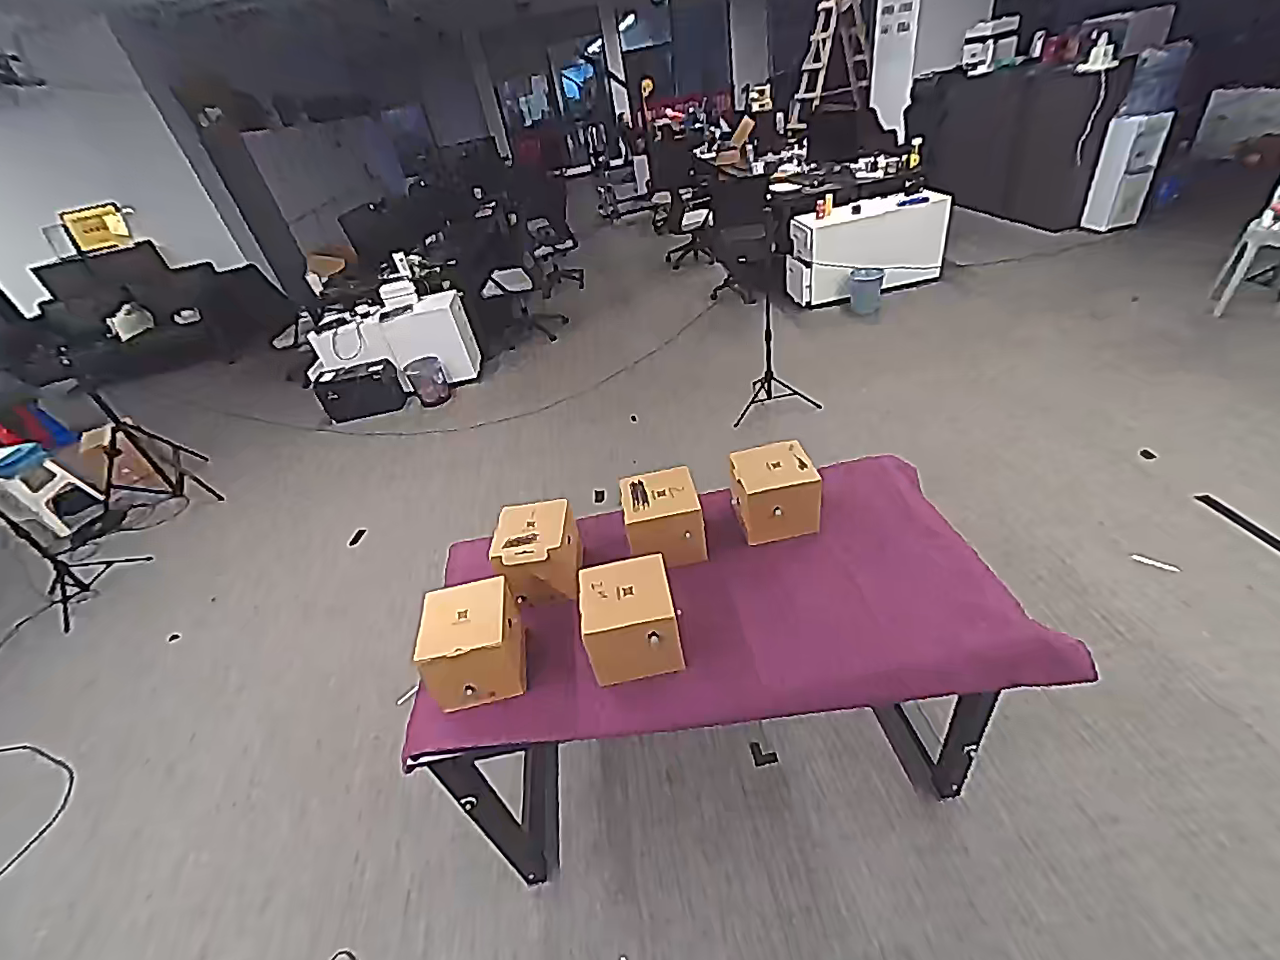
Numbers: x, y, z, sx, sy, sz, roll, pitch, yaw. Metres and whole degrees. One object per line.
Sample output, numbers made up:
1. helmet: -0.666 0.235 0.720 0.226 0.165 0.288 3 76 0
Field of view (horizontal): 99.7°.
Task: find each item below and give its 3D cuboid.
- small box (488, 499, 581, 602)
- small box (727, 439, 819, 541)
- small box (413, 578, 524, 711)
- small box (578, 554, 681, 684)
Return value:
1. small box: -0.240 0.173 1.280 0.168 0.176 0.179 -8 37 5
2. small box: 0.321 0.028 1.310 0.179 0.176 0.168 -12 39 1
3. small box: -0.336 0.331 1.095 0.168 0.176 0.179 -13 37 -4
4. small box: -0.018 0.278 1.077 0.179 0.176 0.168 -12 36 0
